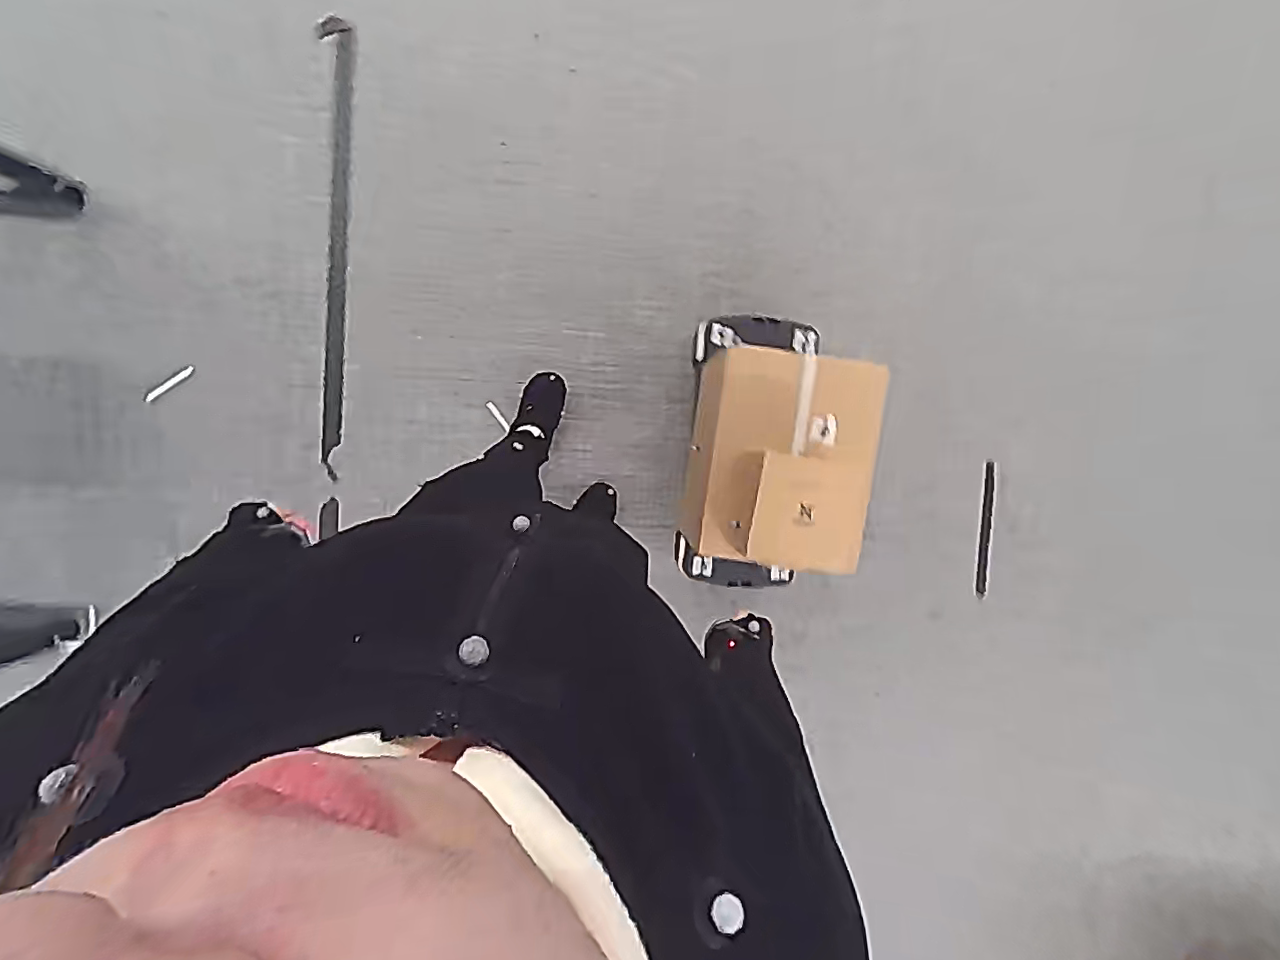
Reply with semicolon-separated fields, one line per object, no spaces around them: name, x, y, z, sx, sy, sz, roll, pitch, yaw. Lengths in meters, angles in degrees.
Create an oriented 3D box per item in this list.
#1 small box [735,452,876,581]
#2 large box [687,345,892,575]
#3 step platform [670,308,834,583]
small box;0.266;0.053;0.915;0.168;0.176;0.179;11;93;-2
large box;0.289;-0.039;1.155;0.320;0.320;0.408;8;92;-4
step platform;0.279;-0.082;1.391;0.286;0.204;0.684;10;93;-3
